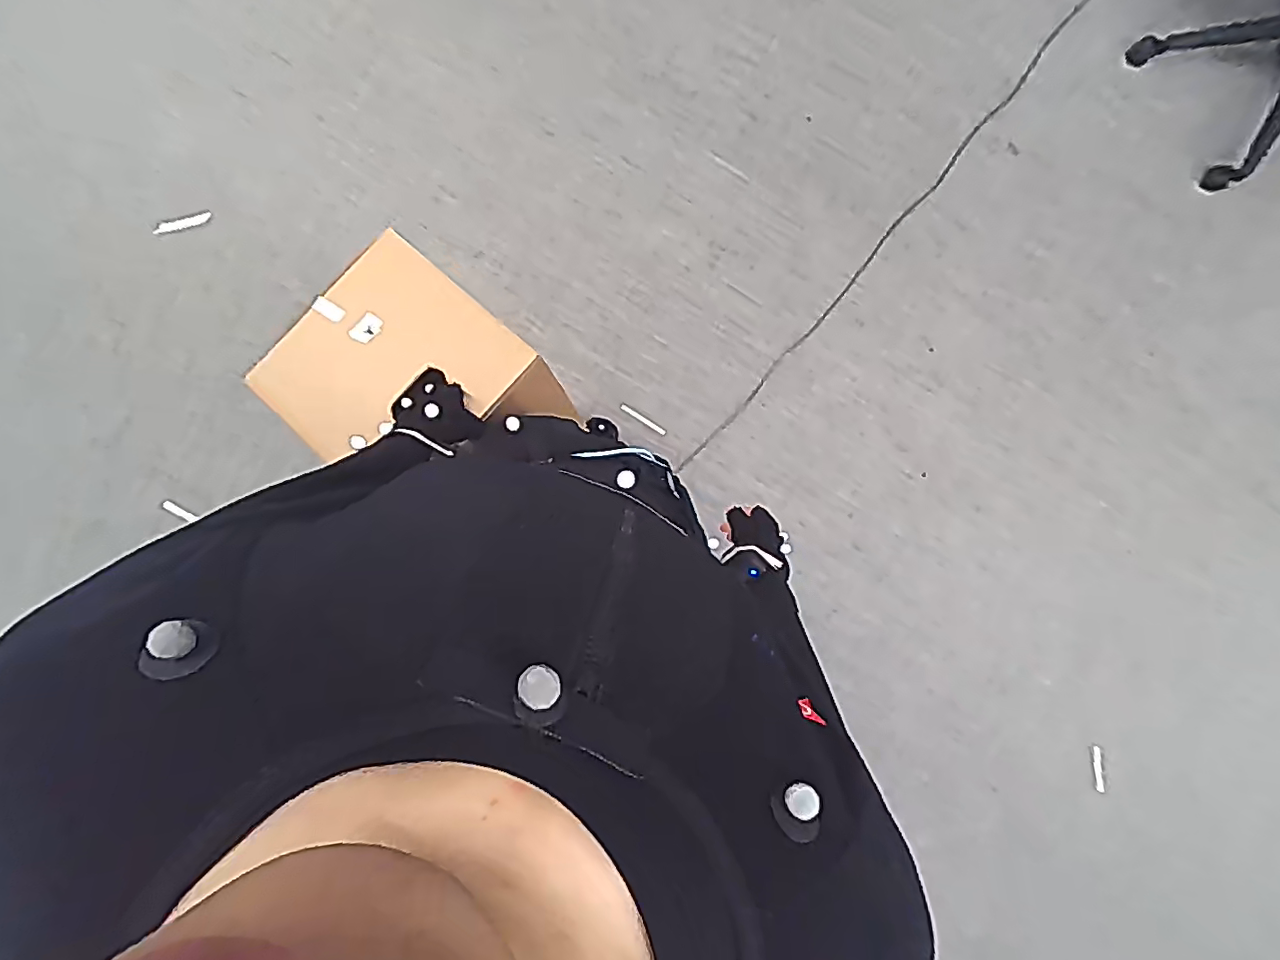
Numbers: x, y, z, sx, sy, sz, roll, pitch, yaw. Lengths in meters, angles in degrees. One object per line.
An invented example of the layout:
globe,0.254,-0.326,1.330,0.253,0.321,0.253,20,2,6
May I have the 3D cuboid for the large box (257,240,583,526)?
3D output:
large box,-0.349,-0.136,0.976,0.320,0.408,0.320,42,87,8
